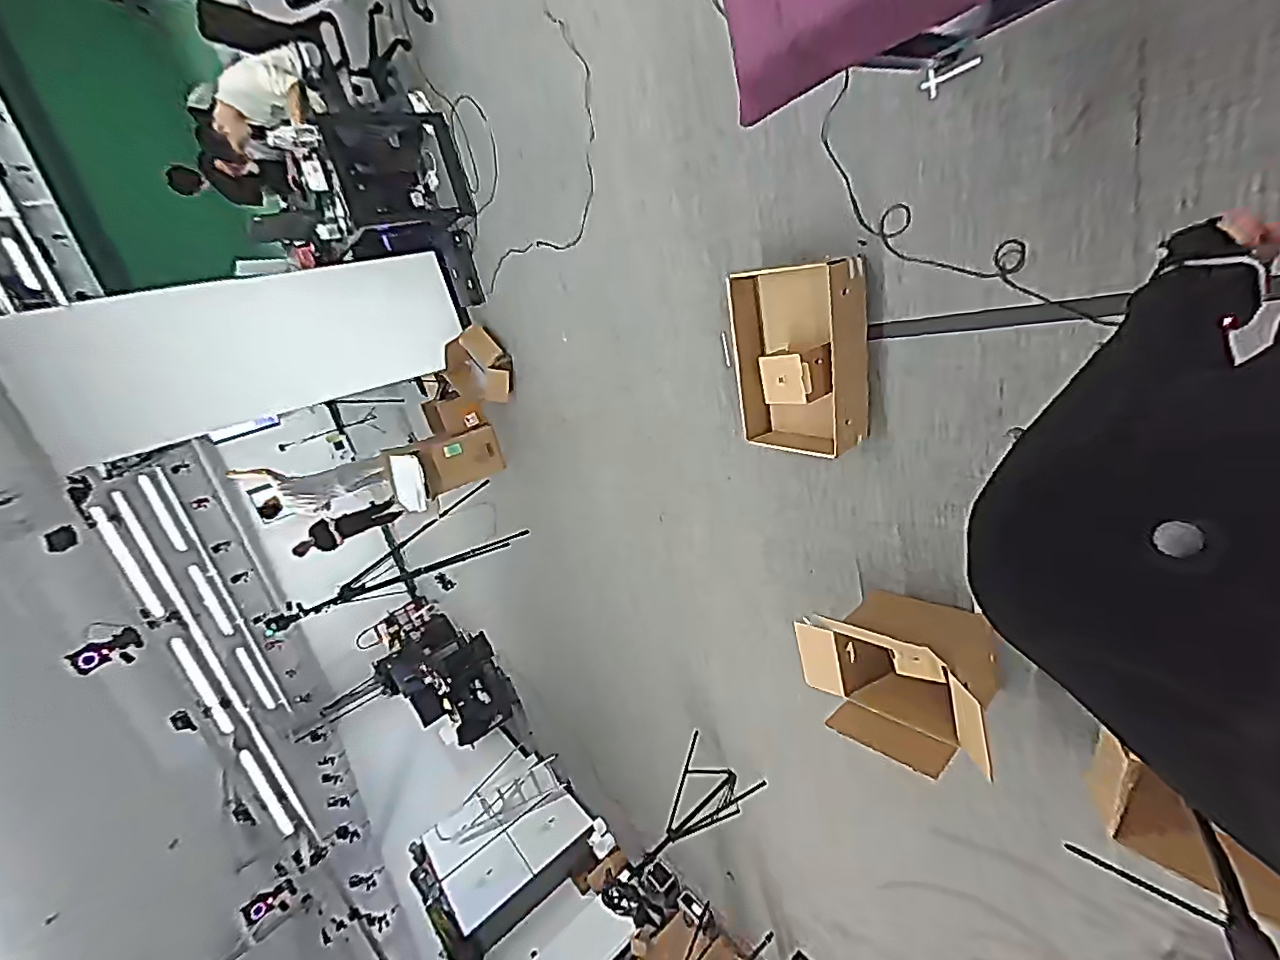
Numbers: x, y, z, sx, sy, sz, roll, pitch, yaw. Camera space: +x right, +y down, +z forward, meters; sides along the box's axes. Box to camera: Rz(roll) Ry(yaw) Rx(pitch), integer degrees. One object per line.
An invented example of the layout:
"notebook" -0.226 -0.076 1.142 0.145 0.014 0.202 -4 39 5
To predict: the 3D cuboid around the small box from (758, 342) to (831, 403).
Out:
"small box" 0.530 -0.364 1.830 0.179 0.176 0.168 11 119 52
